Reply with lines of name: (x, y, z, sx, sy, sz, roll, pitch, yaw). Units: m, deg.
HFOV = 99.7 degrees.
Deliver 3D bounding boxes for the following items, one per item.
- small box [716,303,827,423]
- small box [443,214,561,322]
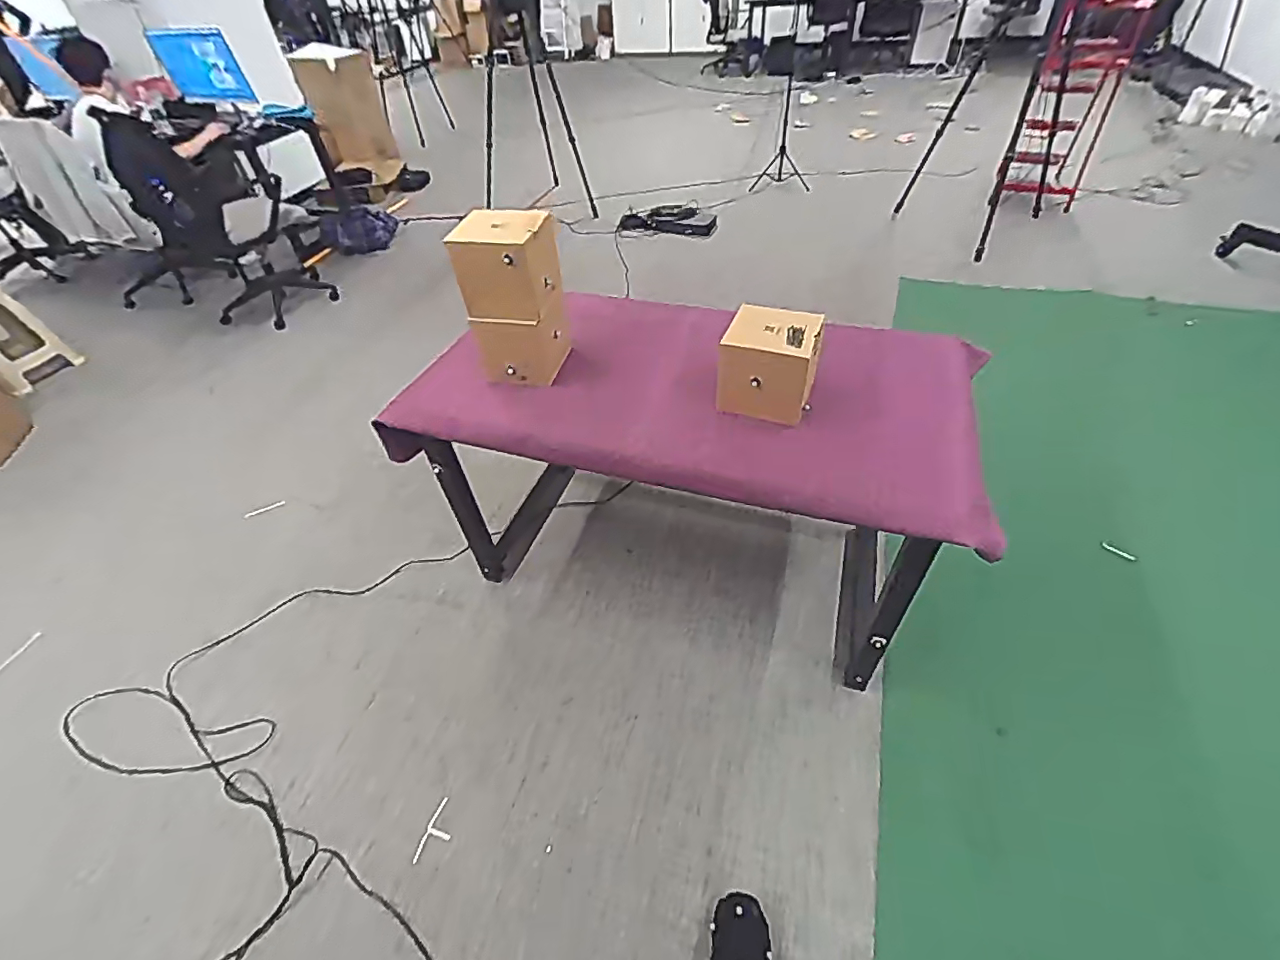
small box: (0.269, -0.241, 1.123, 0.179, 0.176, 0.168, 17, 48, 21)
small box: (-0.285, -0.454, 1.161, 0.179, 0.176, 0.168, 6, 47, 10)
